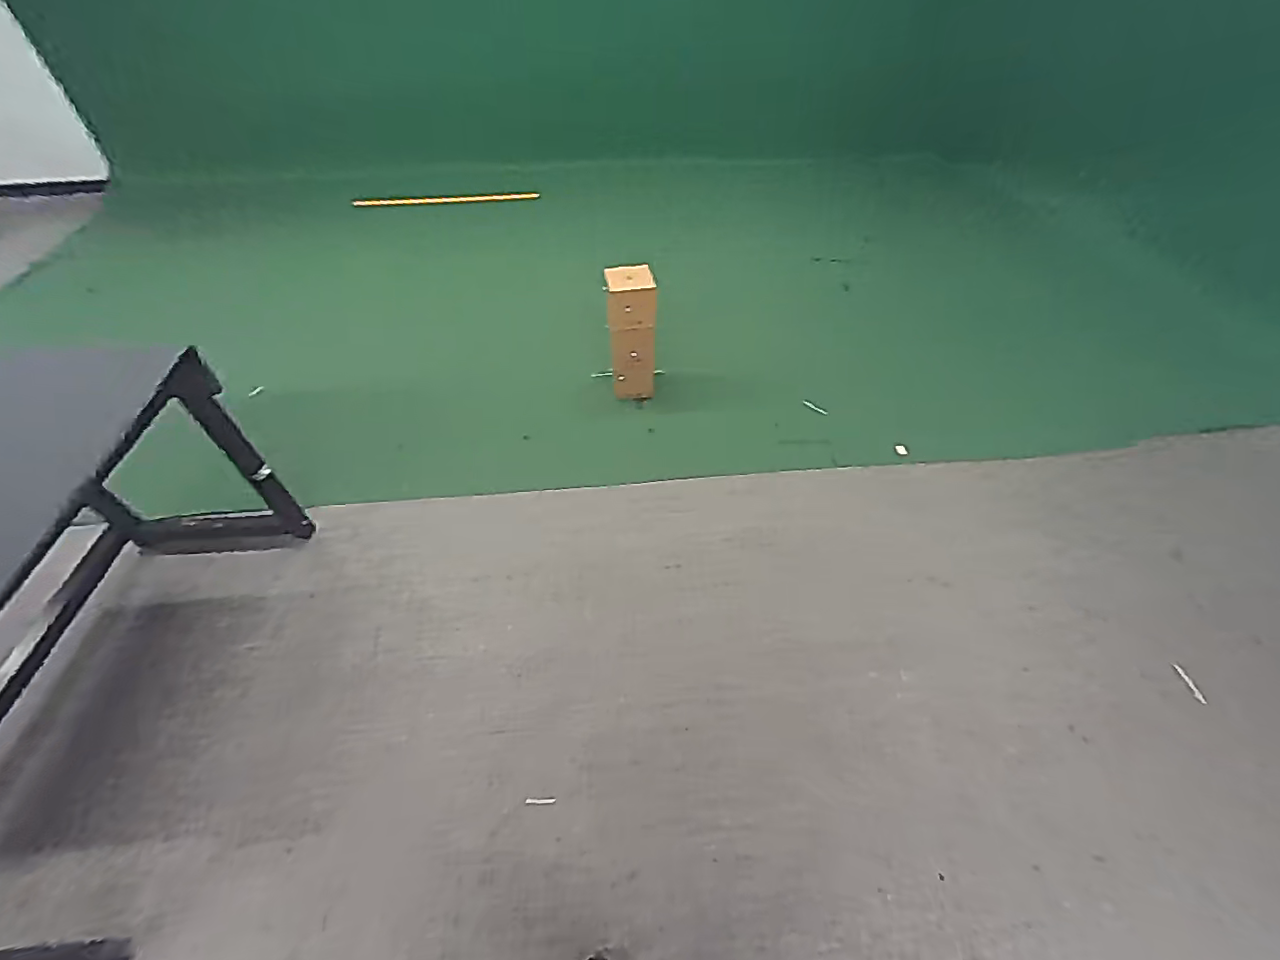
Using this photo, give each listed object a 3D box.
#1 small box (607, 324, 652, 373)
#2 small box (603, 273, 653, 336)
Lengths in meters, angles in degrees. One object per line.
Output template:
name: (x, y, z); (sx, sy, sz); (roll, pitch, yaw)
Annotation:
small box: (-0.044, -0.556, 2.185); (0.168, 0.176, 0.179); (-7, 48, -4)
small box: (-0.045, -0.663, 2.064); (0.168, 0.176, 0.179); (-8, 47, -6)
